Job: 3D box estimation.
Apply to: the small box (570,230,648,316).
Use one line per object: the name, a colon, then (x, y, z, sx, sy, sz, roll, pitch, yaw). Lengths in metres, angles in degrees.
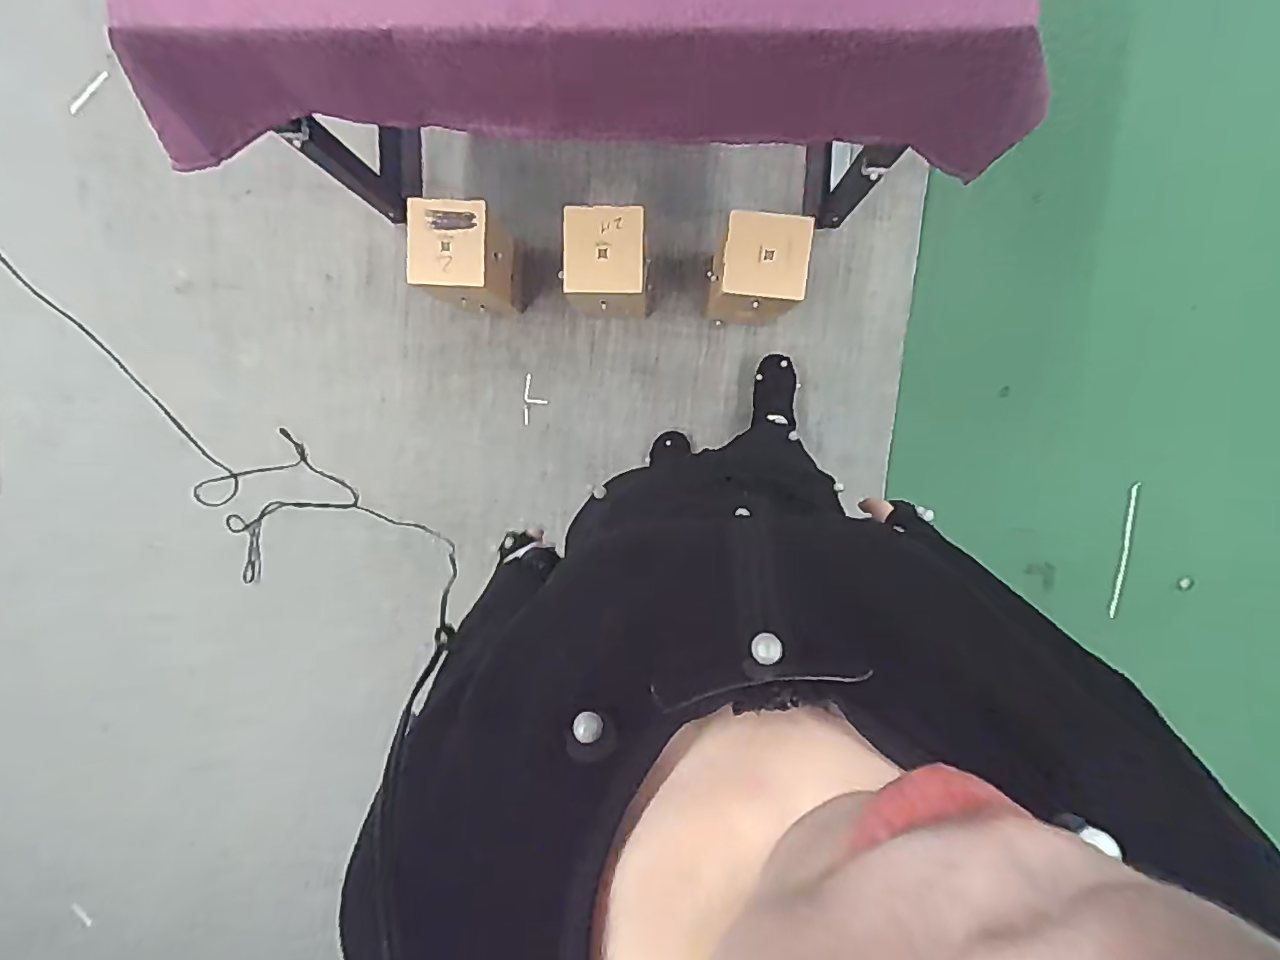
small box: (-0.073, -0.515, 1.362, 0.179, 0.176, 0.168, 3, 96, 1)
